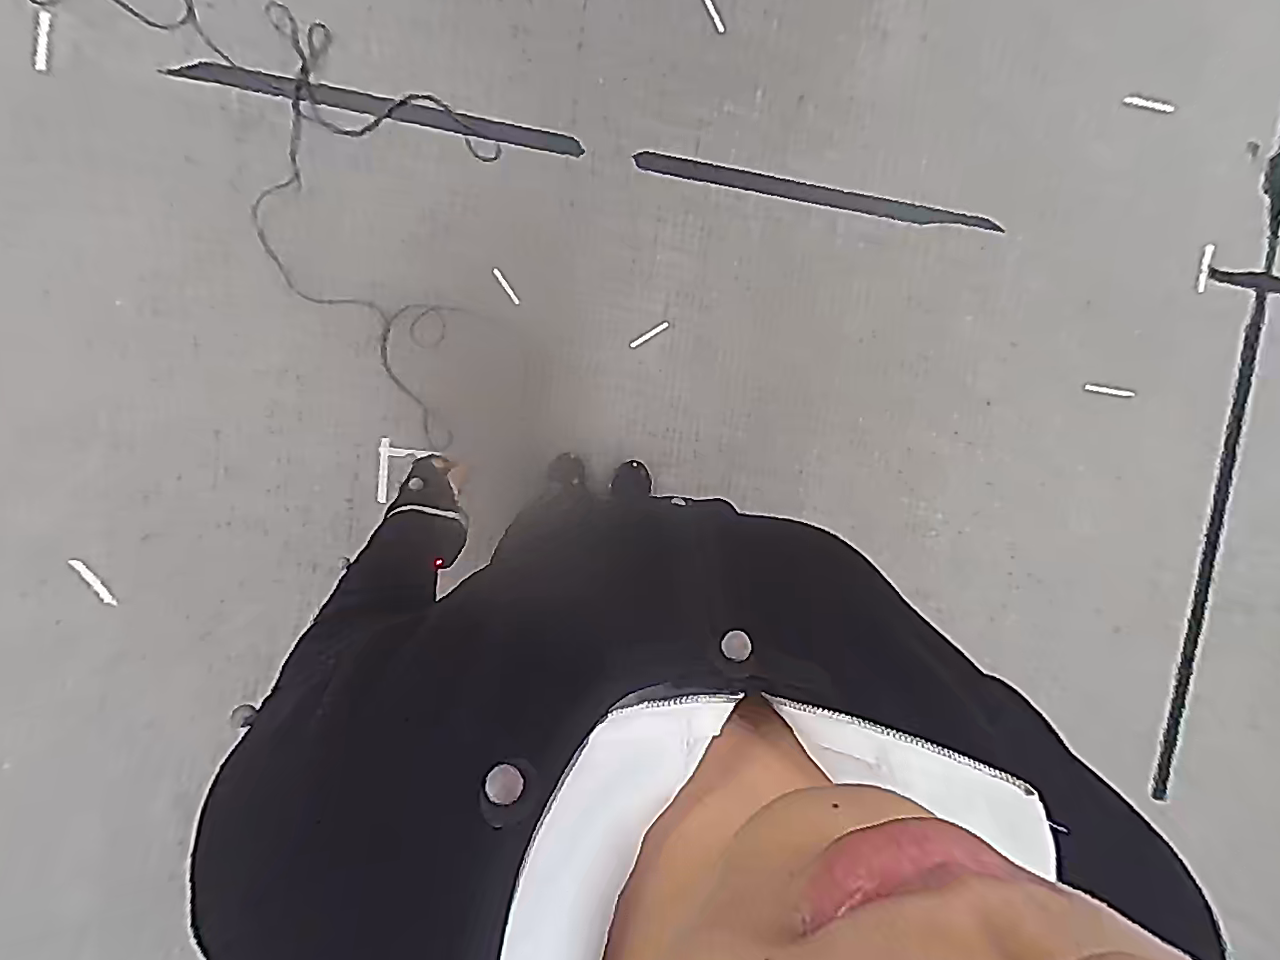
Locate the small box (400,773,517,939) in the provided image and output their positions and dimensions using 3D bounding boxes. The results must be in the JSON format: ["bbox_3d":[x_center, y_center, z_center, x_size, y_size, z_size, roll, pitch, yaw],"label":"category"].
[{"bbox_3d":[-0.315,0.649,0.948,0.168,0.176,0.179,5,91,-5],"label":"small box"}]

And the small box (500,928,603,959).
[{"bbox_3d":[-0.140,0.826,0.807,0.168,0.176,0.179,6,91,-7],"label":"small box"}]

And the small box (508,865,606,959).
[{"bbox_3d":[-0.154,0.841,0.969,0.168,0.176,0.179,7,91,-7],"label":"small box"}]
